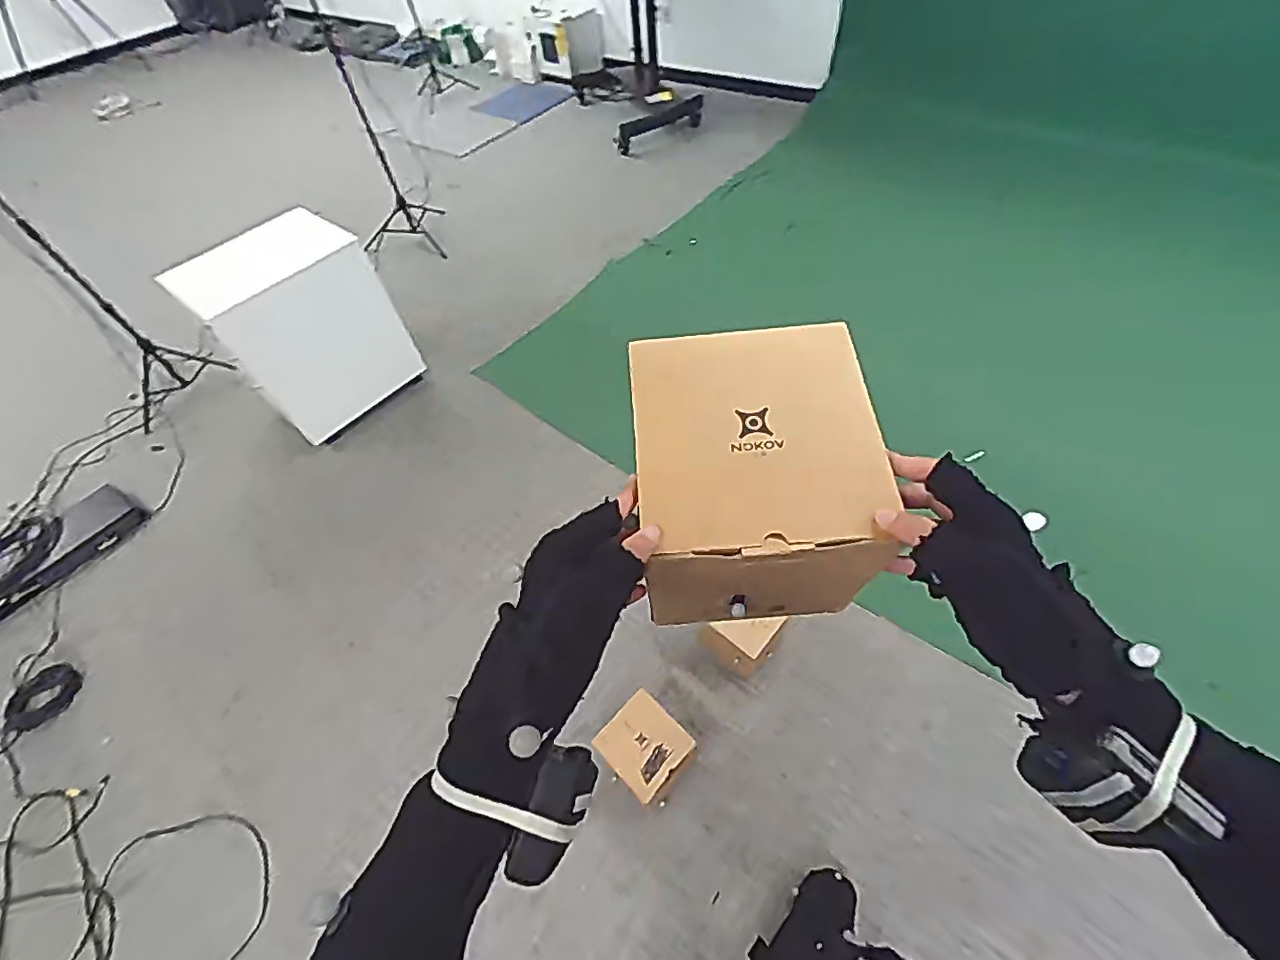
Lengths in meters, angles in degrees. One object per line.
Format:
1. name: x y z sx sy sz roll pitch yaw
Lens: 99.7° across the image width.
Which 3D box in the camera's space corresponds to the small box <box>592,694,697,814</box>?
1. small box: 0.016 0.636 1.246 0.179 0.176 0.168 36 63 29
